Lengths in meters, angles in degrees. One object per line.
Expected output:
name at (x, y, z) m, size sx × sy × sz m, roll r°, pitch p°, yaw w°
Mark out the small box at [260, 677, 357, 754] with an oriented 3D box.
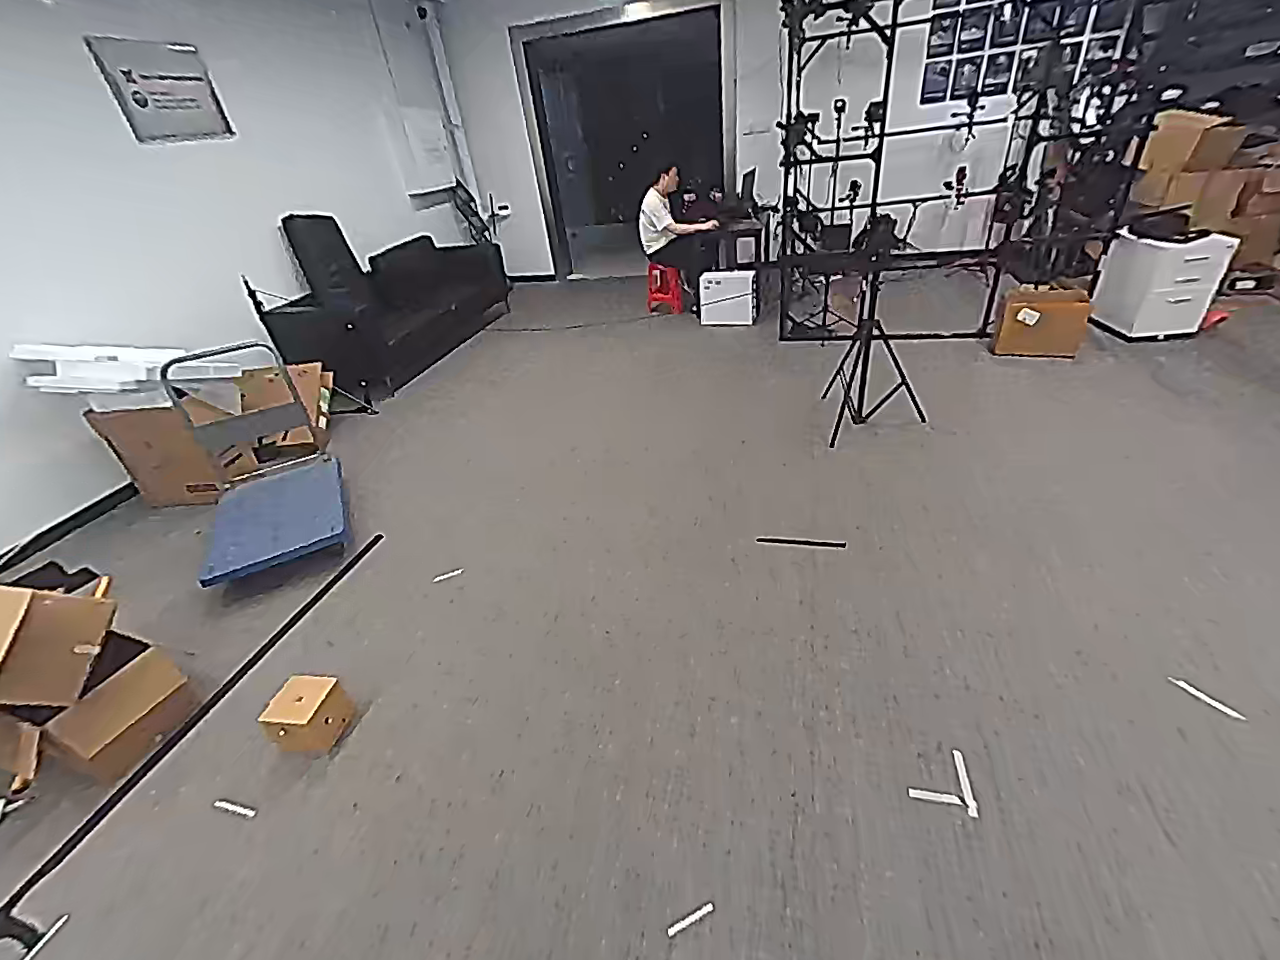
small box at (-1.058, 0.762, 1.746) m, size 0.179 × 0.176 × 0.168 m, roll -1°, pitch 34°, yaw 10°
